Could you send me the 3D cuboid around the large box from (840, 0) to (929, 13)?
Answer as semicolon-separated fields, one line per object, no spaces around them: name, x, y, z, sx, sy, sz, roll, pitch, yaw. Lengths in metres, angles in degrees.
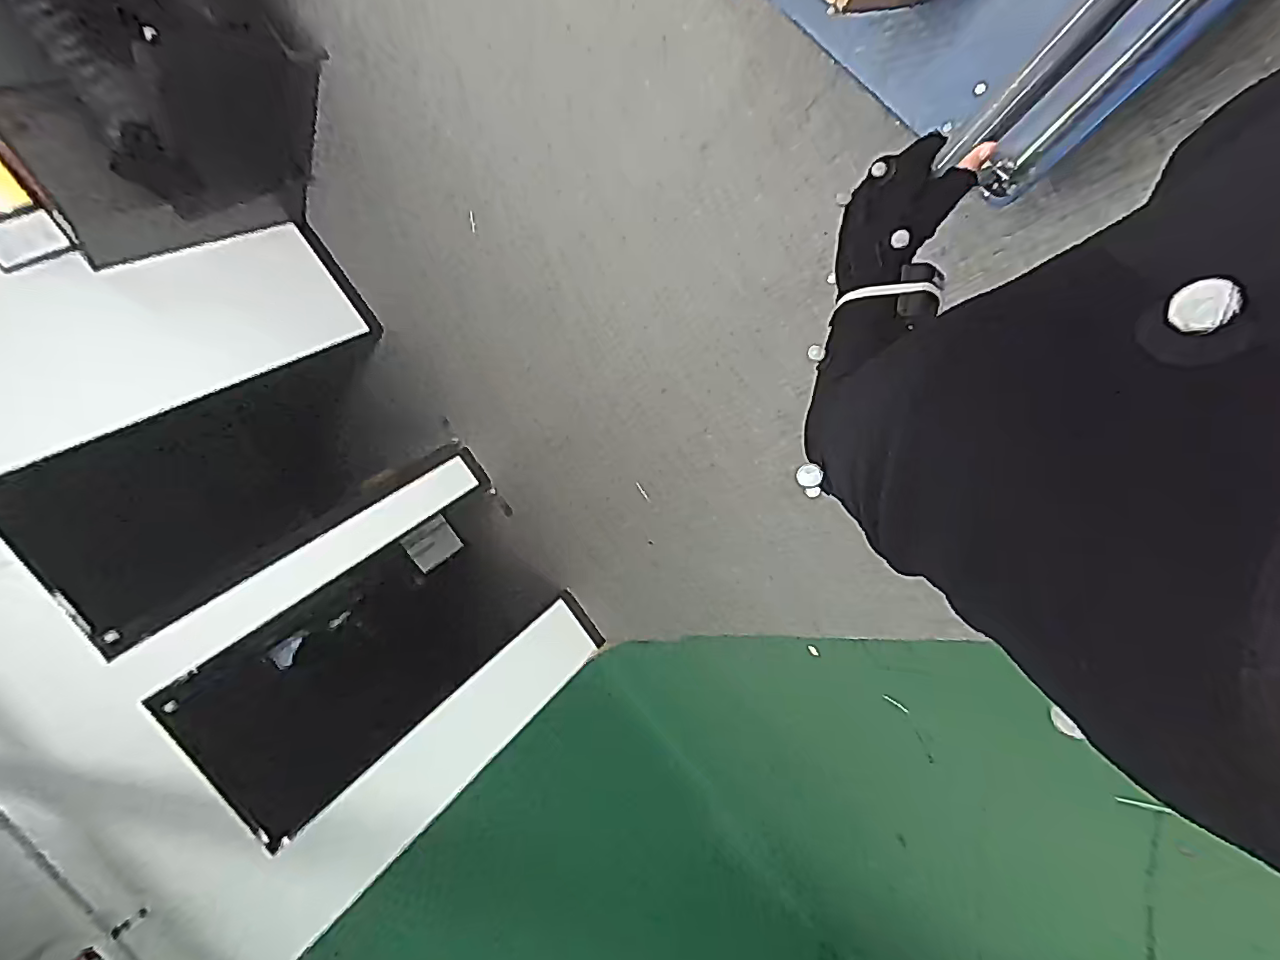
large box;0.369;-0.954;0.722;0.320;0.320;0.408;45;146;8
